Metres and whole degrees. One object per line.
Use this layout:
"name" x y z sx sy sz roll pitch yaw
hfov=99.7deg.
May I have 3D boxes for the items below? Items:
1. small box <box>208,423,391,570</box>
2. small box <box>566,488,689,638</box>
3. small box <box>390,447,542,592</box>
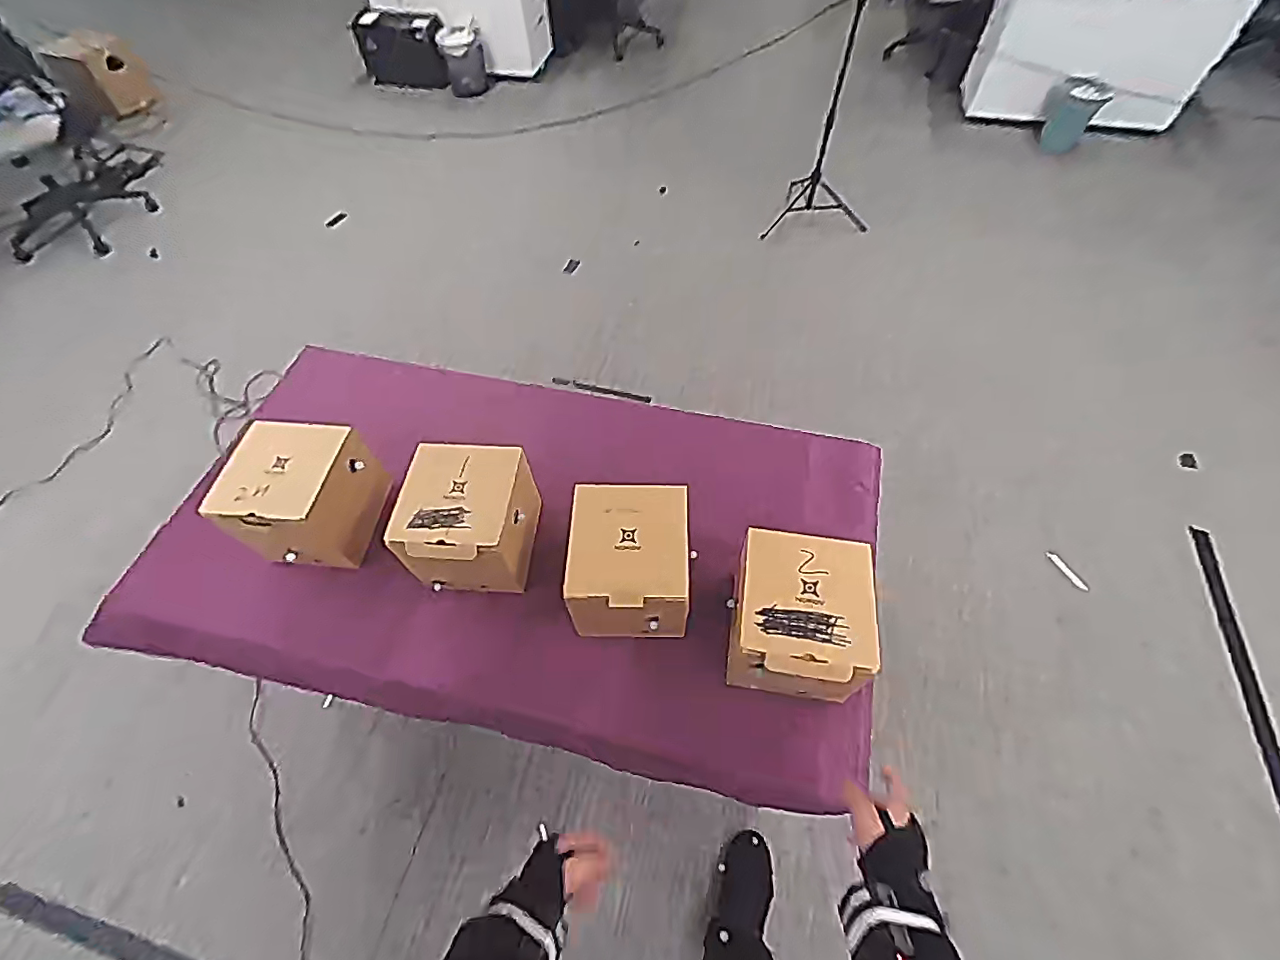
"small box" -0.540 0.030 0.894 0.168 0.176 0.179 4 57 5
"small box" -0.011 0.130 0.817 0.168 0.176 0.179 1 56 2
"small box" -0.261 0.068 0.863 0.168 0.176 0.179 3 56 3
